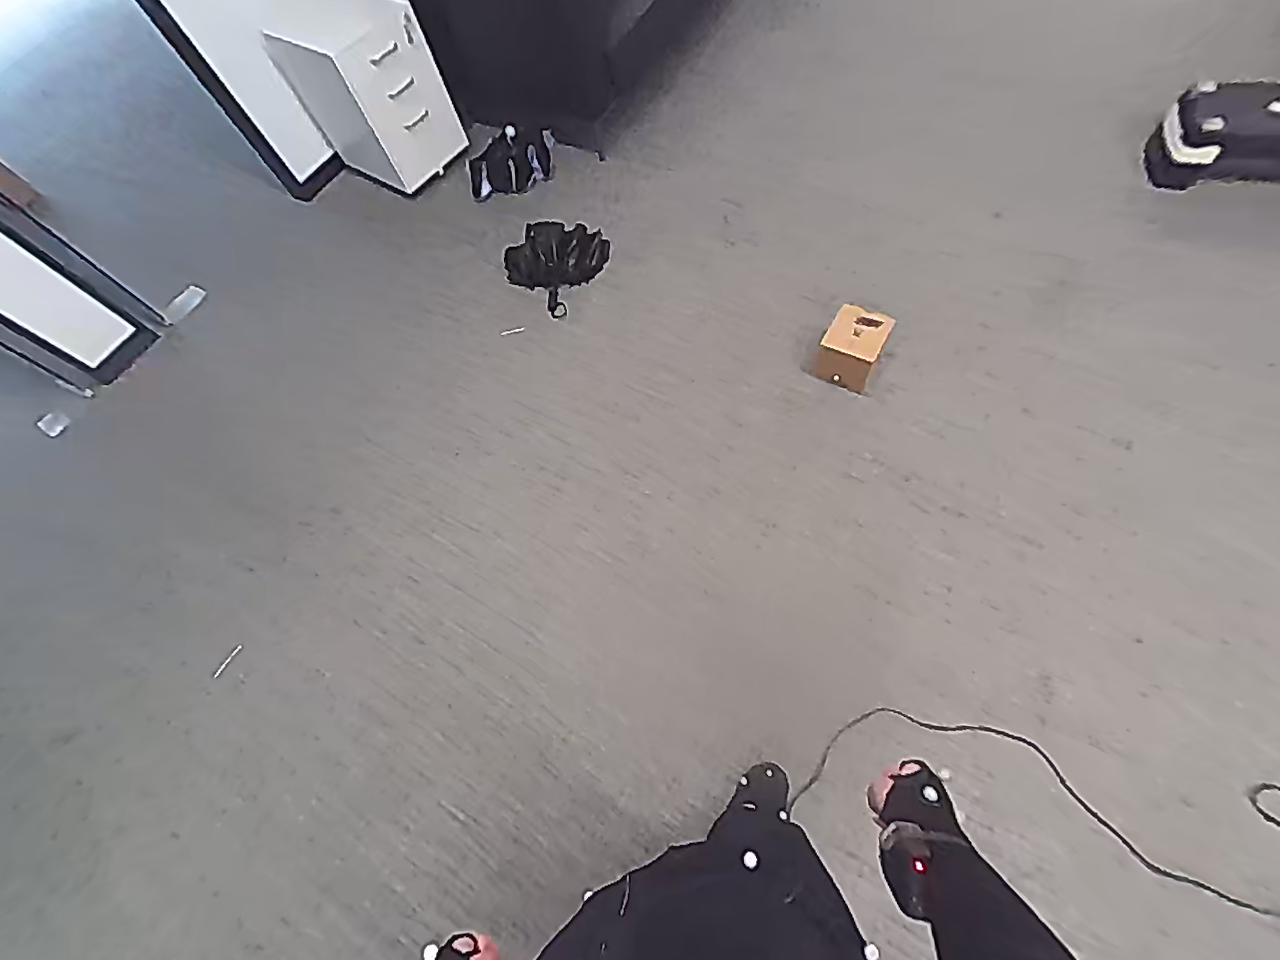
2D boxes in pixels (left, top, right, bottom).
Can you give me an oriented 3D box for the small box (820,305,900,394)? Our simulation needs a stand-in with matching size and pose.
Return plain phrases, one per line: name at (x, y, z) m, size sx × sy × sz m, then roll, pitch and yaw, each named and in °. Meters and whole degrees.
small box at (0.675, -0.401, 1.677) m, size 0.168 × 0.176 × 0.179 m, roll 26°, pitch 72°, yaw 22°
